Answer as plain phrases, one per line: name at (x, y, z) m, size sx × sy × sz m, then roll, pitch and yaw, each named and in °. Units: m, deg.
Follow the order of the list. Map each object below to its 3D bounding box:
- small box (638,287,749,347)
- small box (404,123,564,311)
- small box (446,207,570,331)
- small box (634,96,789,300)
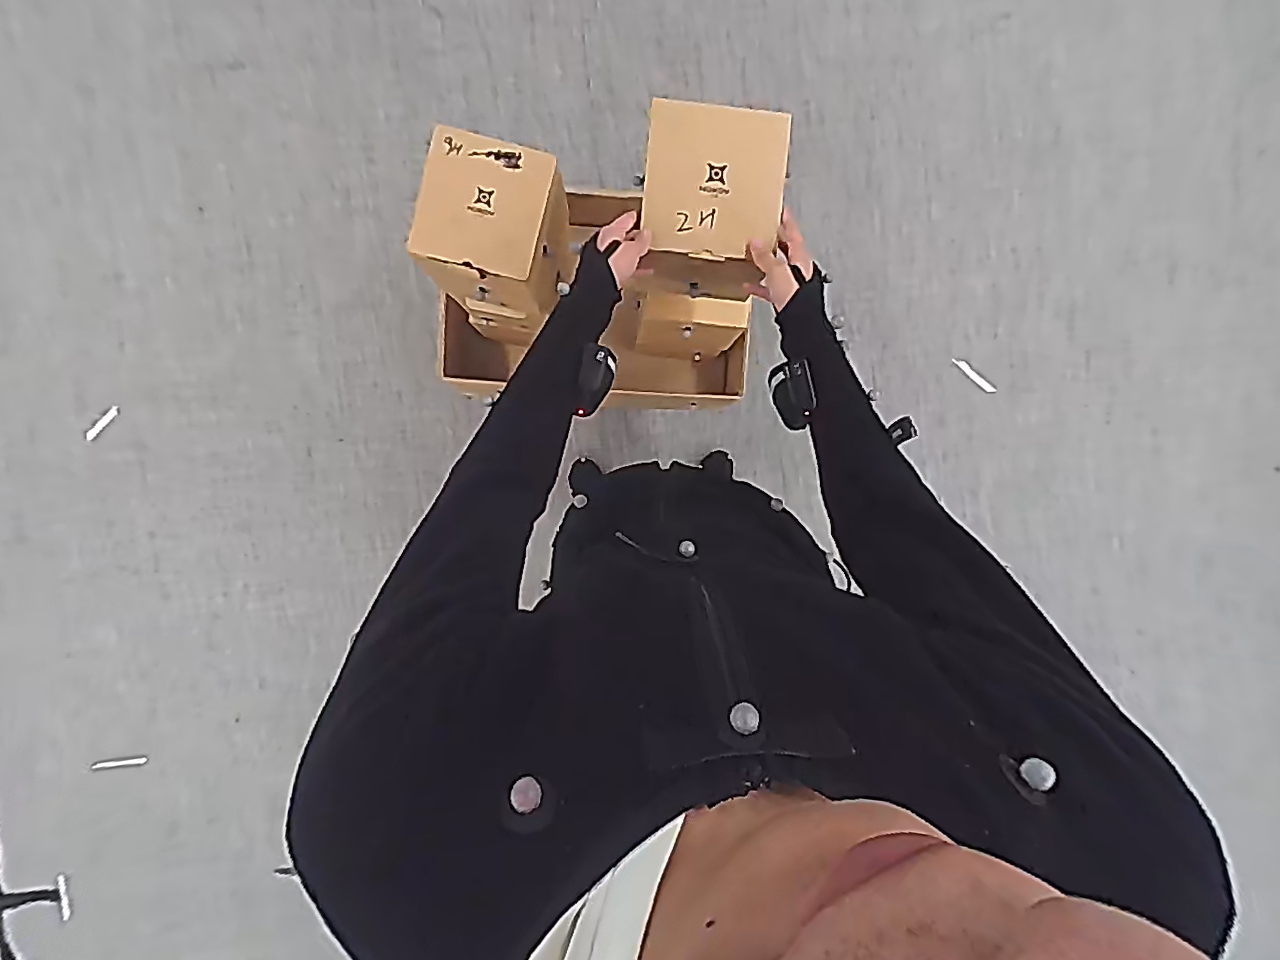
small box at (0.093, -0.342, 0.969) m, size 0.179 × 0.176 × 0.168 m, roll 5°, pitch 91°, yaw -2°
small box at (-0.214, -0.366, 0.790) m, size 0.168 × 0.176 × 0.179 m, roll 15°, pitch 91°, yaw -3°
small box at (-0.221, -0.377, 0.954) m, size 0.168 × 0.176 × 0.179 m, roll 11°, pitch 91°, yaw -3°
small box at (0.082, -0.354, 0.709) m, size 0.168 × 0.176 × 0.179 m, roll 6°, pitch 93°, yaw -1°
